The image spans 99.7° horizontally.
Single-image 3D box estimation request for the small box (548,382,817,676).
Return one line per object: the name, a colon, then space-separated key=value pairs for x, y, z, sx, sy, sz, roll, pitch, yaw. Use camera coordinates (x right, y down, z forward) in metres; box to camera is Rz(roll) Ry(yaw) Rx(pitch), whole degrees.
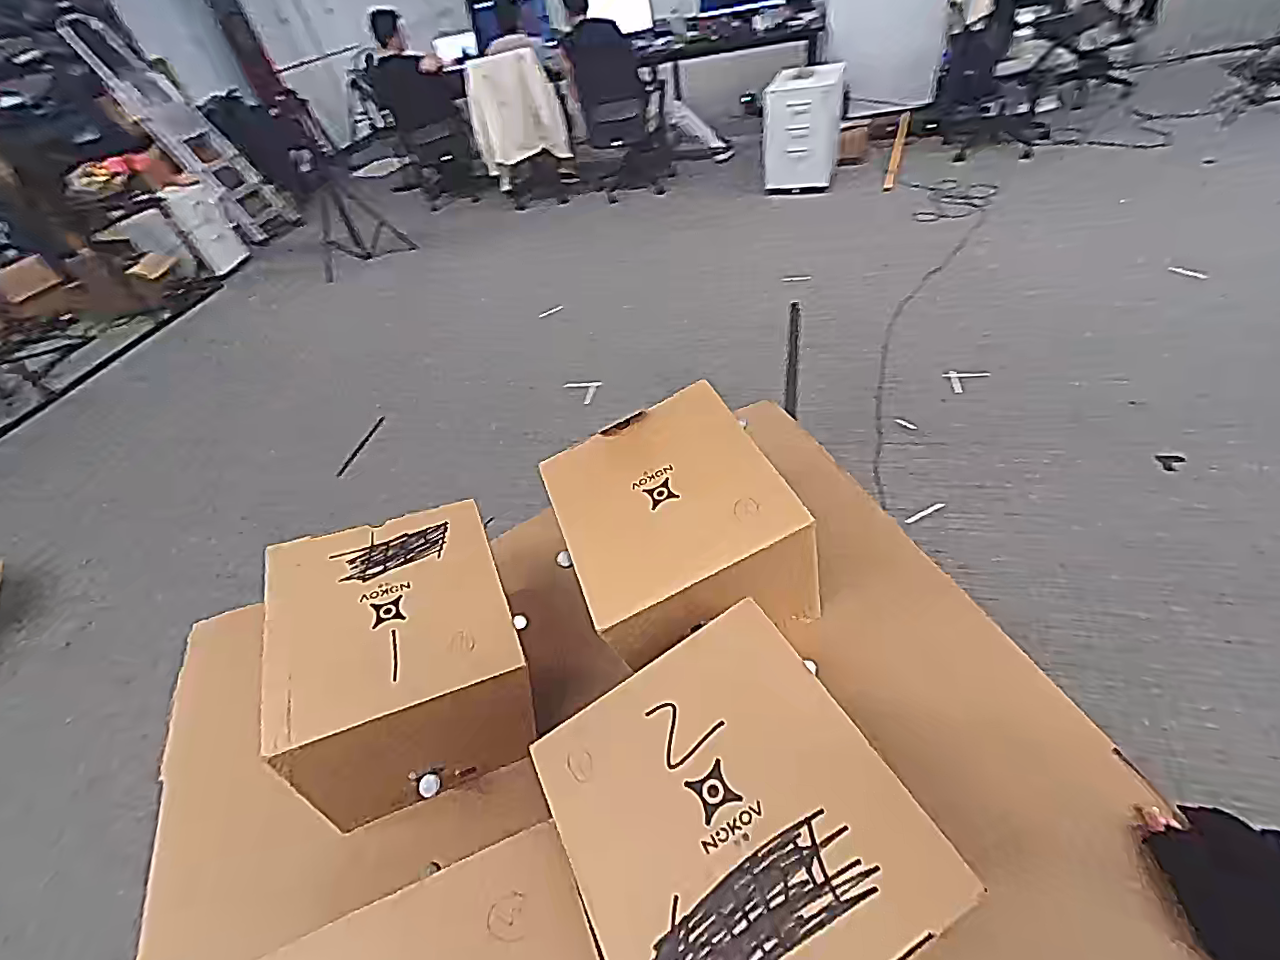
small box: x=0.042 y=0.052 z=0.483 sx=0.168 sy=0.176 sz=0.179 roll=-27 pitch=48 yaw=-1
